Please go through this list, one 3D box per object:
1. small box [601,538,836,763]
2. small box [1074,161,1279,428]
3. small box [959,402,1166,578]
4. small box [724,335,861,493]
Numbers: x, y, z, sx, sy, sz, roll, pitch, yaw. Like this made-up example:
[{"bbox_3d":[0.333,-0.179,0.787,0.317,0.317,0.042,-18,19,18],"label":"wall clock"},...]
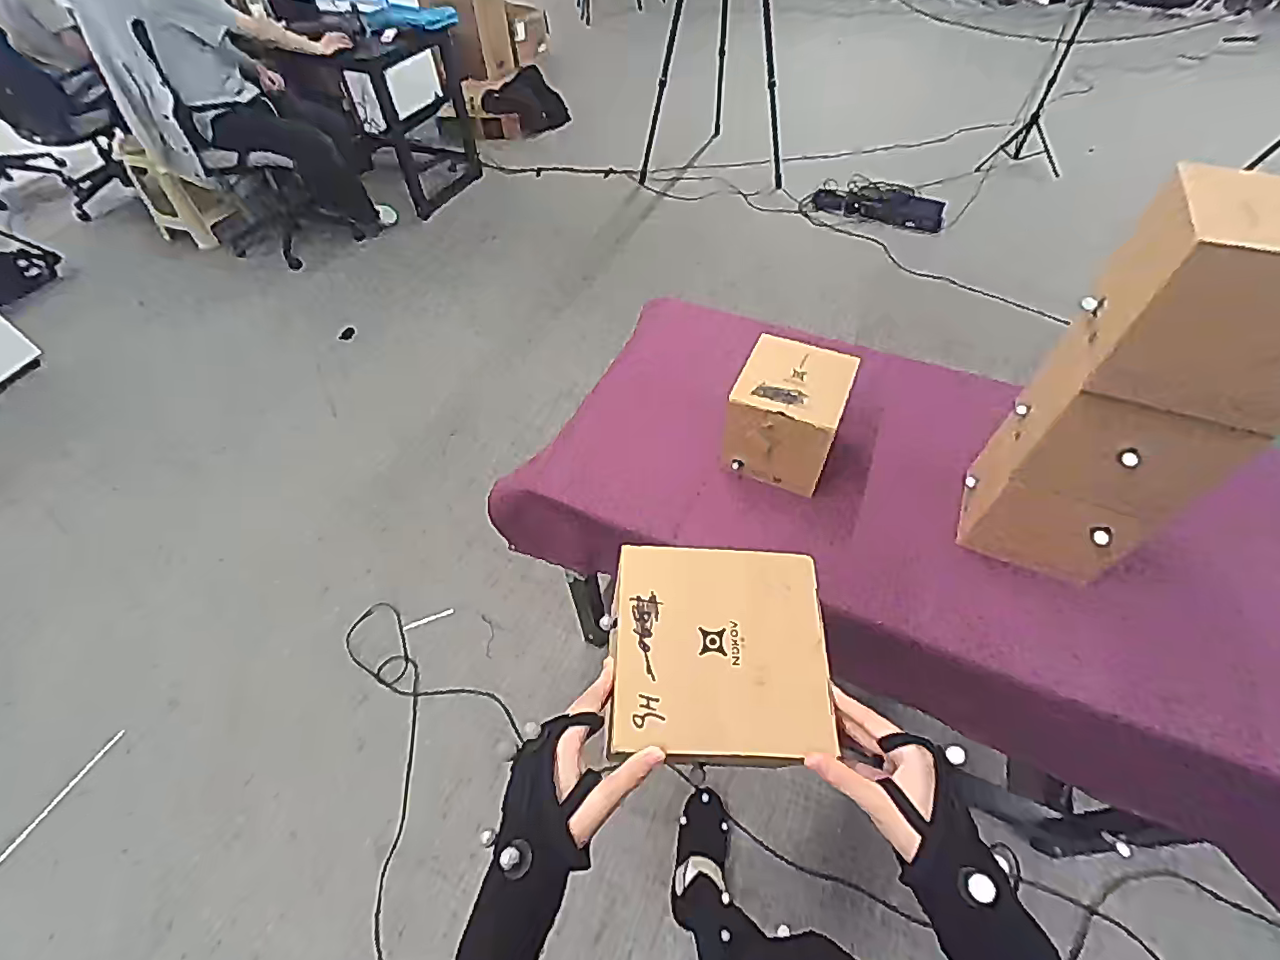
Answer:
[{"bbox_3d":[0.060,0.170,0.514,0.179,0.176,0.168,5,60,-4],"label":"small box"},{"bbox_3d":[0.572,-0.175,0.524,0.179,0.176,0.168,20,55,17],"label":"small box"},{"bbox_3d":[0.601,0.020,0.787,0.179,0.176,0.168,20,56,17],"label":"small box"},{"bbox_3d":[0.246,-0.106,0.901,0.168,0.176,0.179,20,55,16],"label":"small box"}]
